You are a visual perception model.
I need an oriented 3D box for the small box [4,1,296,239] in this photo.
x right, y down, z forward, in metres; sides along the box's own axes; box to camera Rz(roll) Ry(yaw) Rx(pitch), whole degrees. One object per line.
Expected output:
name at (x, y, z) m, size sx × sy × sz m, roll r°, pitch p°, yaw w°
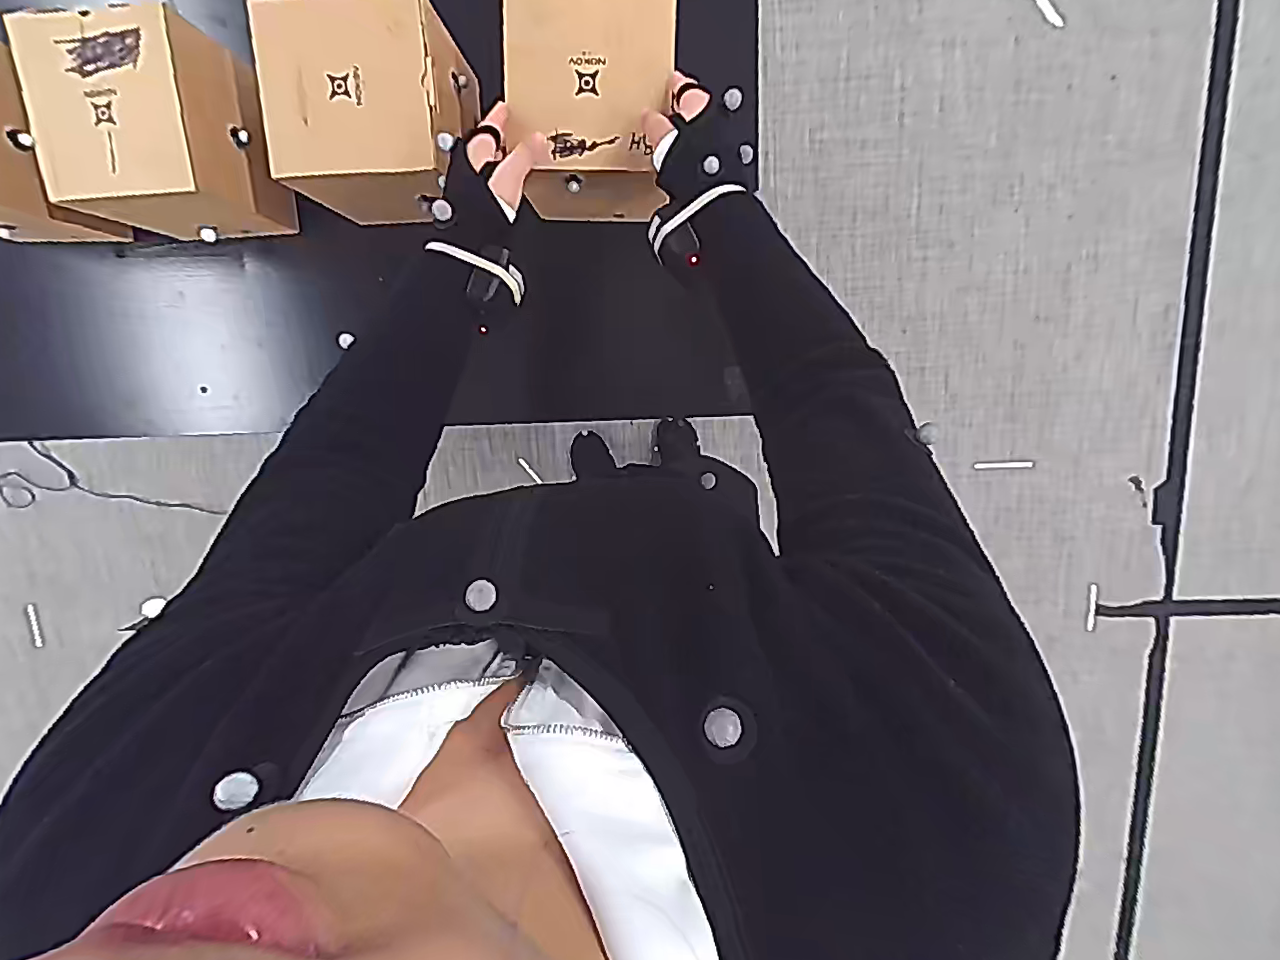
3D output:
small box at (-0.539, -0.396, 0.625) m, size 0.168 × 0.176 × 0.179 m, roll -3°, pitch 102°, yaw 2°

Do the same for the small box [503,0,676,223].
small box at (-0.049, -0.408, 0.601) m, size 0.168 × 0.176 × 0.179 m, roll 2°, pitch 99°, yaw 1°

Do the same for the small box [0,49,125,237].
small box at (-0.763, -0.394, 0.633) m, size 0.168 × 0.176 × 0.179 m, roll 1°, pitch 100°, yaw 2°

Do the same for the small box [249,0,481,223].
small box at (-0.291, -0.406, 0.616) m, size 0.179 × 0.176 × 0.168 m, roll -2°, pitch 99°, yaw 3°
